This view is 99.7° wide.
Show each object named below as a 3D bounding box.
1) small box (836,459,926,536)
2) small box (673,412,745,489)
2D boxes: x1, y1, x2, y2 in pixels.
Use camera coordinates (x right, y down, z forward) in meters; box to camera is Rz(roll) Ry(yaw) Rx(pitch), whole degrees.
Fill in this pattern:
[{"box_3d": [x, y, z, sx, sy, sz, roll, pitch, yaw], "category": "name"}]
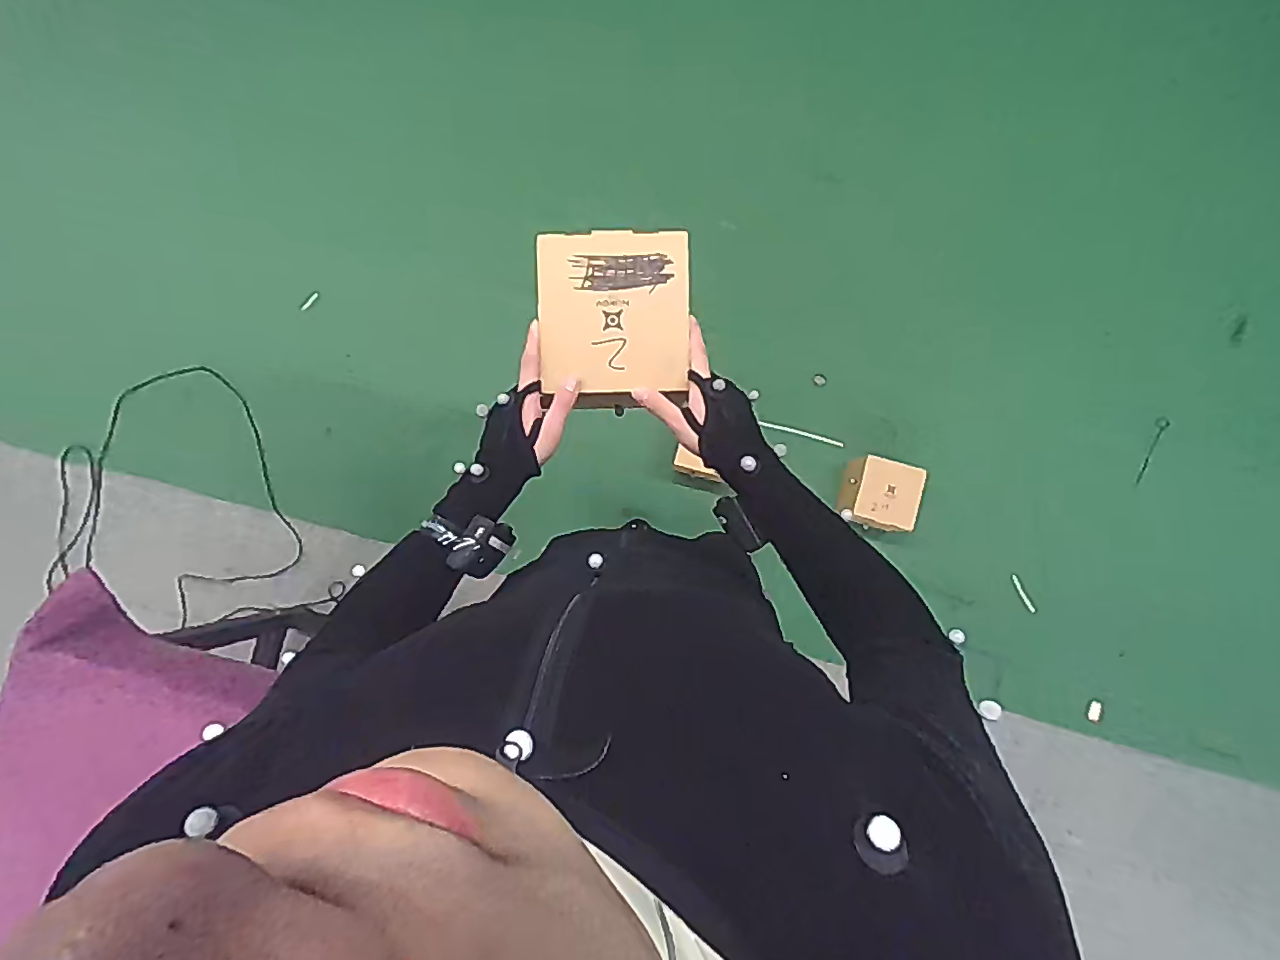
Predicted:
[{"box_3d": [0.680, 0.054, 1.546, 0.168, 0.176, 0.179, 16, 85, 3], "category": "small box"}, {"box_3d": [0.196, -0.079, 1.579, 0.168, 0.176, 0.179, 14, 84, 4], "category": "small box"}]
